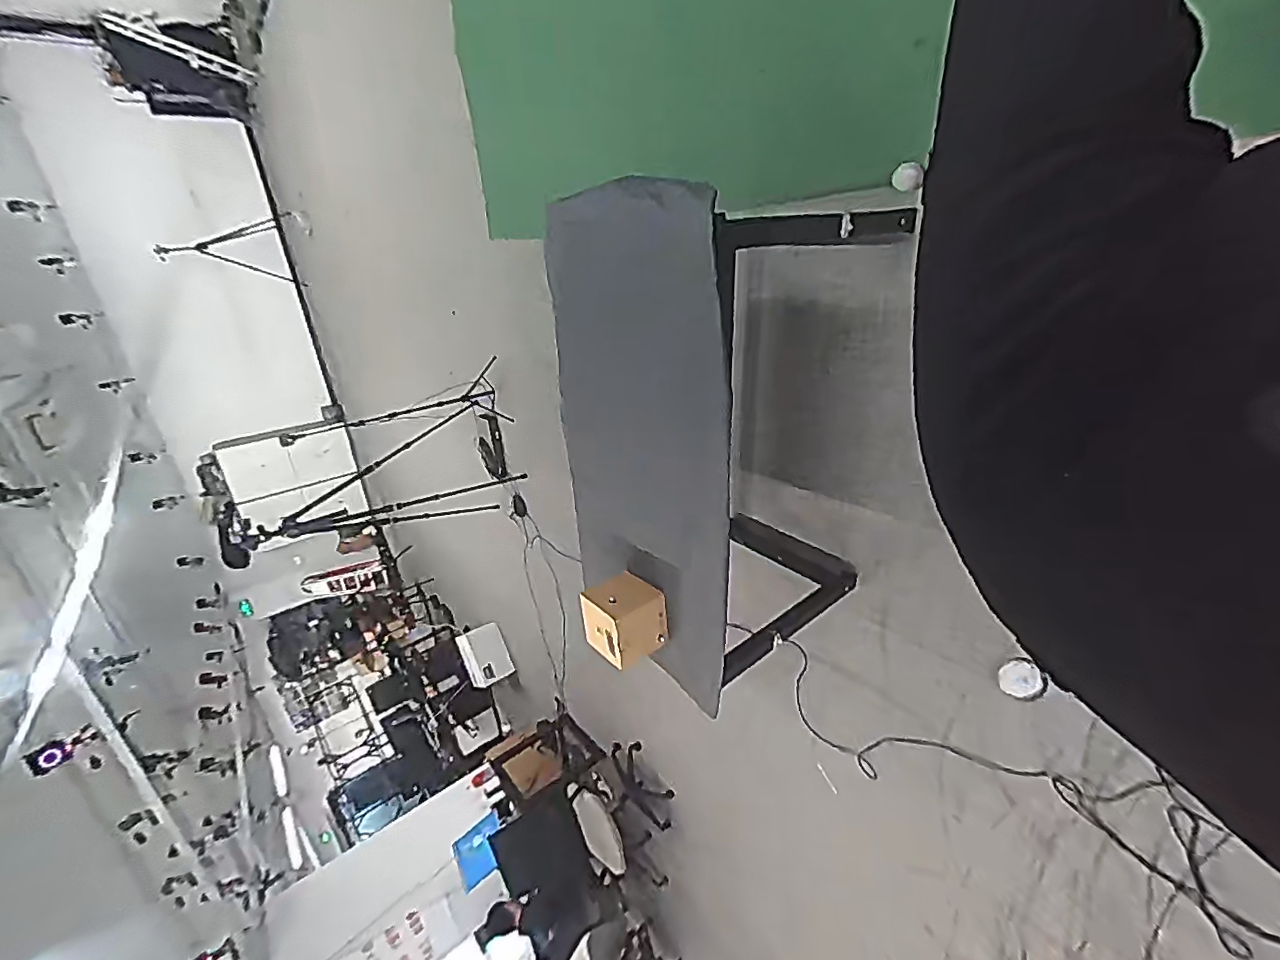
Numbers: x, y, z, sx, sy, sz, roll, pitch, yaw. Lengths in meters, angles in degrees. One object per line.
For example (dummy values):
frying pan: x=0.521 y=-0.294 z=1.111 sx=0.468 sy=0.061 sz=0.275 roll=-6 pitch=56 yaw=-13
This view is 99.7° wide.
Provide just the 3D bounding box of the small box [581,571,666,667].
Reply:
small box: x=-0.039 y=0.378 z=1.510 sx=0.179 sy=0.176 sz=0.168 roll=21 pitch=124 yaw=49
